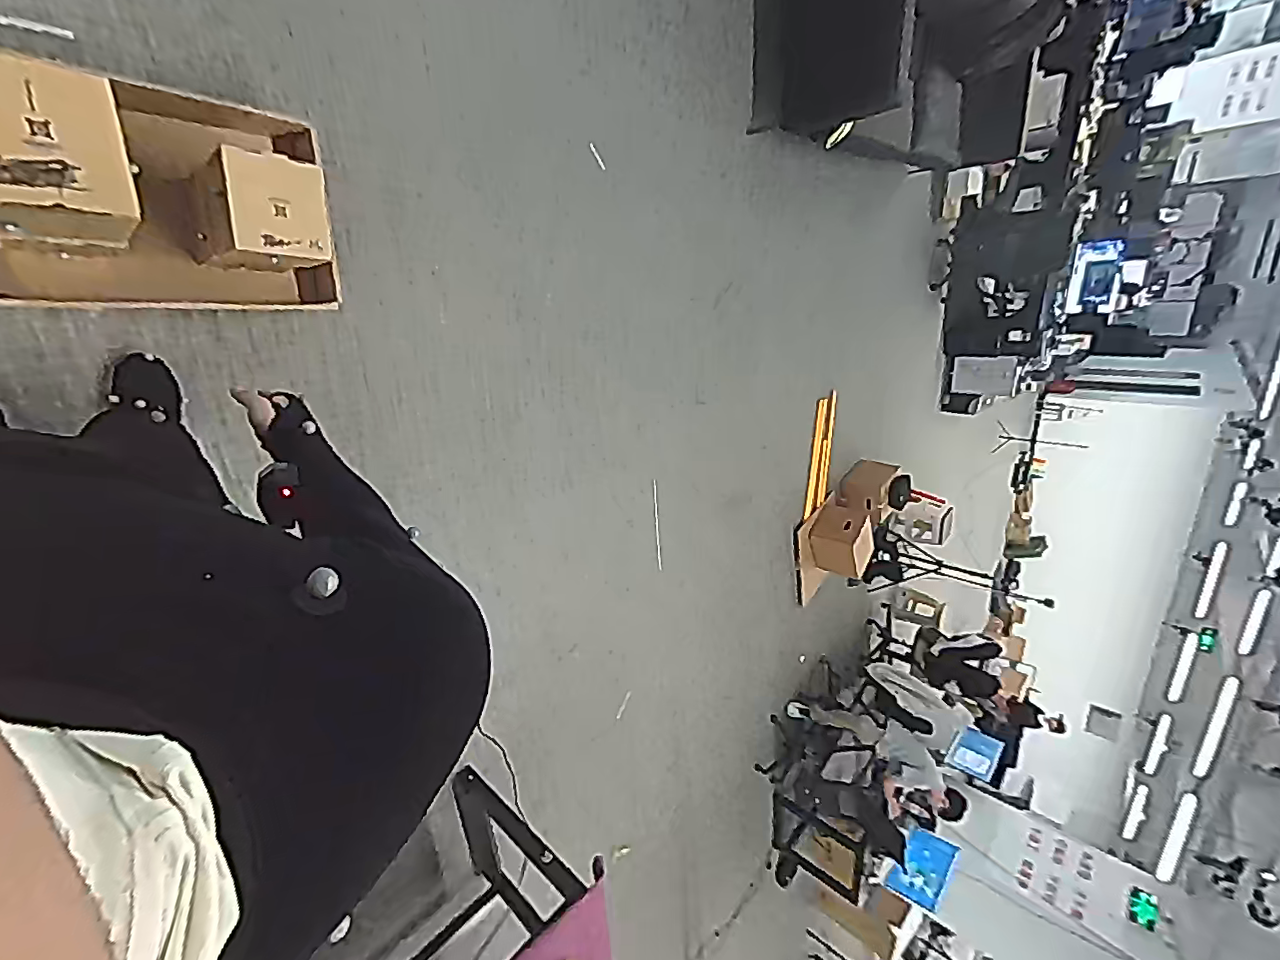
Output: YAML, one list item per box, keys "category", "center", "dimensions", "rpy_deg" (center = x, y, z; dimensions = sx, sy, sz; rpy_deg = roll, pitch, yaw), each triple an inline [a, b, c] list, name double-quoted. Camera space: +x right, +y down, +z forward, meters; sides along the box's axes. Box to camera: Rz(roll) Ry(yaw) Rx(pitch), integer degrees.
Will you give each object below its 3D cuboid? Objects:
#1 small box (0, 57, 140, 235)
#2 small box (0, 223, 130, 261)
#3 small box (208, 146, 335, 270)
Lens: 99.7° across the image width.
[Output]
- category: "small box"
  center: [-0.826, -0.449, 0.748]
  dimensions: [0.168, 0.176, 0.179]
  rpy_deg: [-16, 110, -45]
- category: "small box"
  center: [-1.056, -0.505, 0.974]
  dimensions: [0.168, 0.176, 0.179]
  rpy_deg: [-16, 110, -44]
- category: "small box"
  center: [-0.732, -0.527, 1.074]
  dimensions: [0.168, 0.176, 0.179]
  rpy_deg: [-12, 109, -45]
